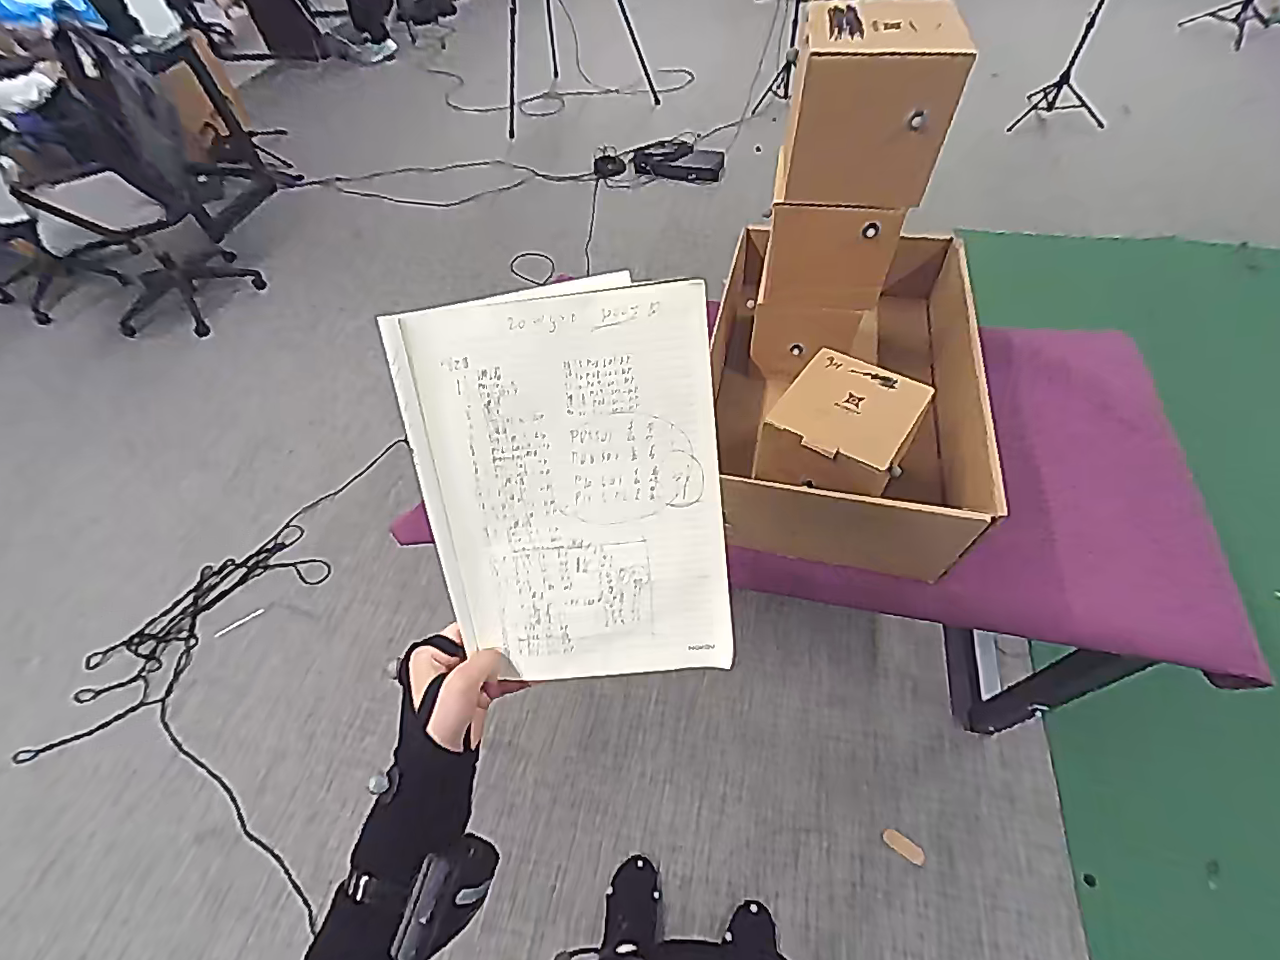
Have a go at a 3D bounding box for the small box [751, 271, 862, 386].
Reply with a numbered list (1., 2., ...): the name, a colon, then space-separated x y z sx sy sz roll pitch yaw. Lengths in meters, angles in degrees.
1. small box: 0.293 -0.290 0.959 0.168 0.176 0.179 9 57 11

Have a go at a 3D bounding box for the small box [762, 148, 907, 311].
1. small box: 0.285 -0.378 0.824 0.179 0.176 0.168 7 57 10
